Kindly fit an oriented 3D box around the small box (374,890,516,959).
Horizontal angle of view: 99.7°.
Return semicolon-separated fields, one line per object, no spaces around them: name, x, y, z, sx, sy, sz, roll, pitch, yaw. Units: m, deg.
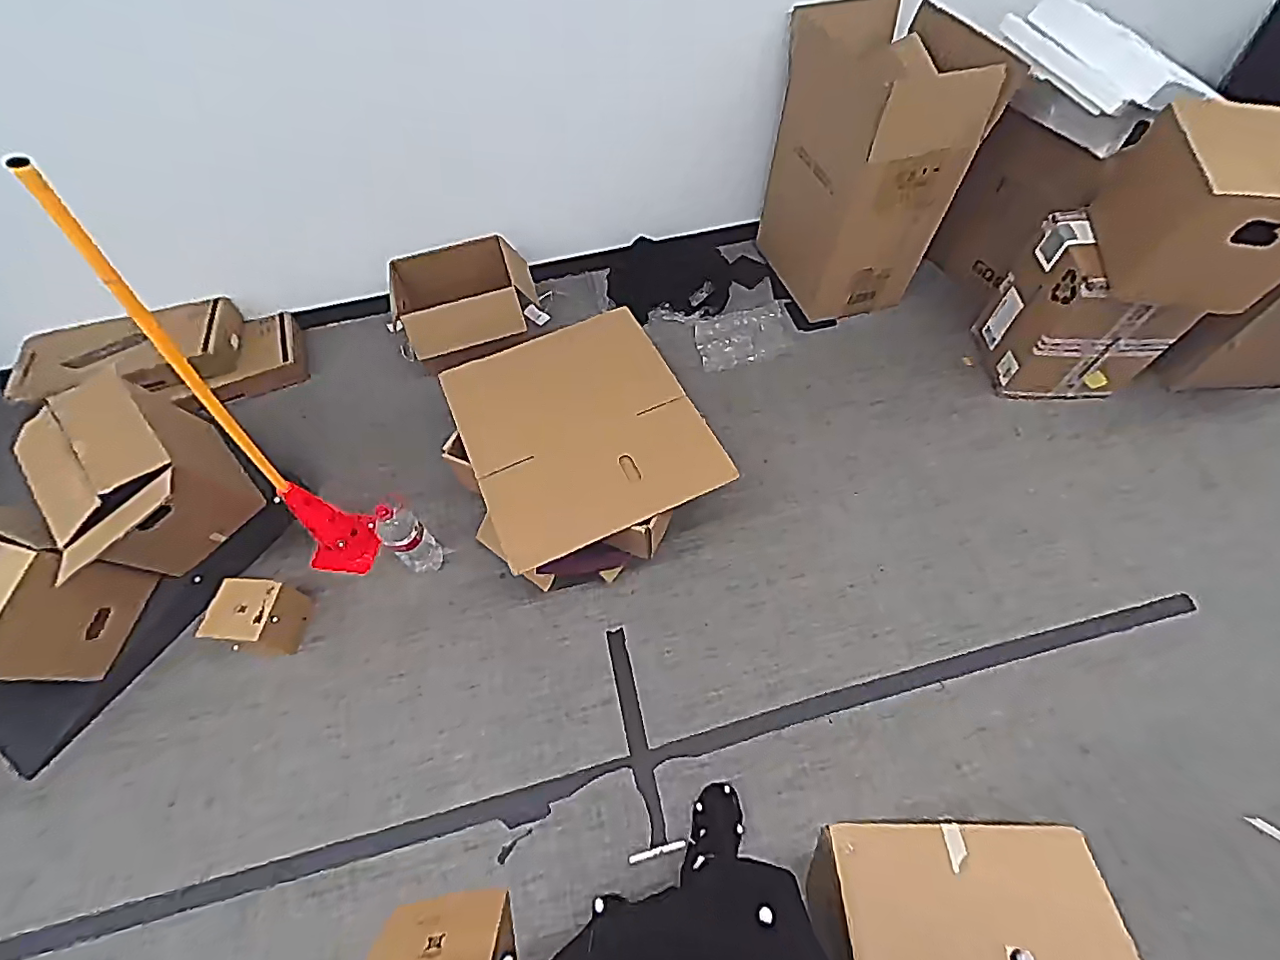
small box;-0.256;0.696;0.707;0.168;0.179;0.176;-7;89;-5
